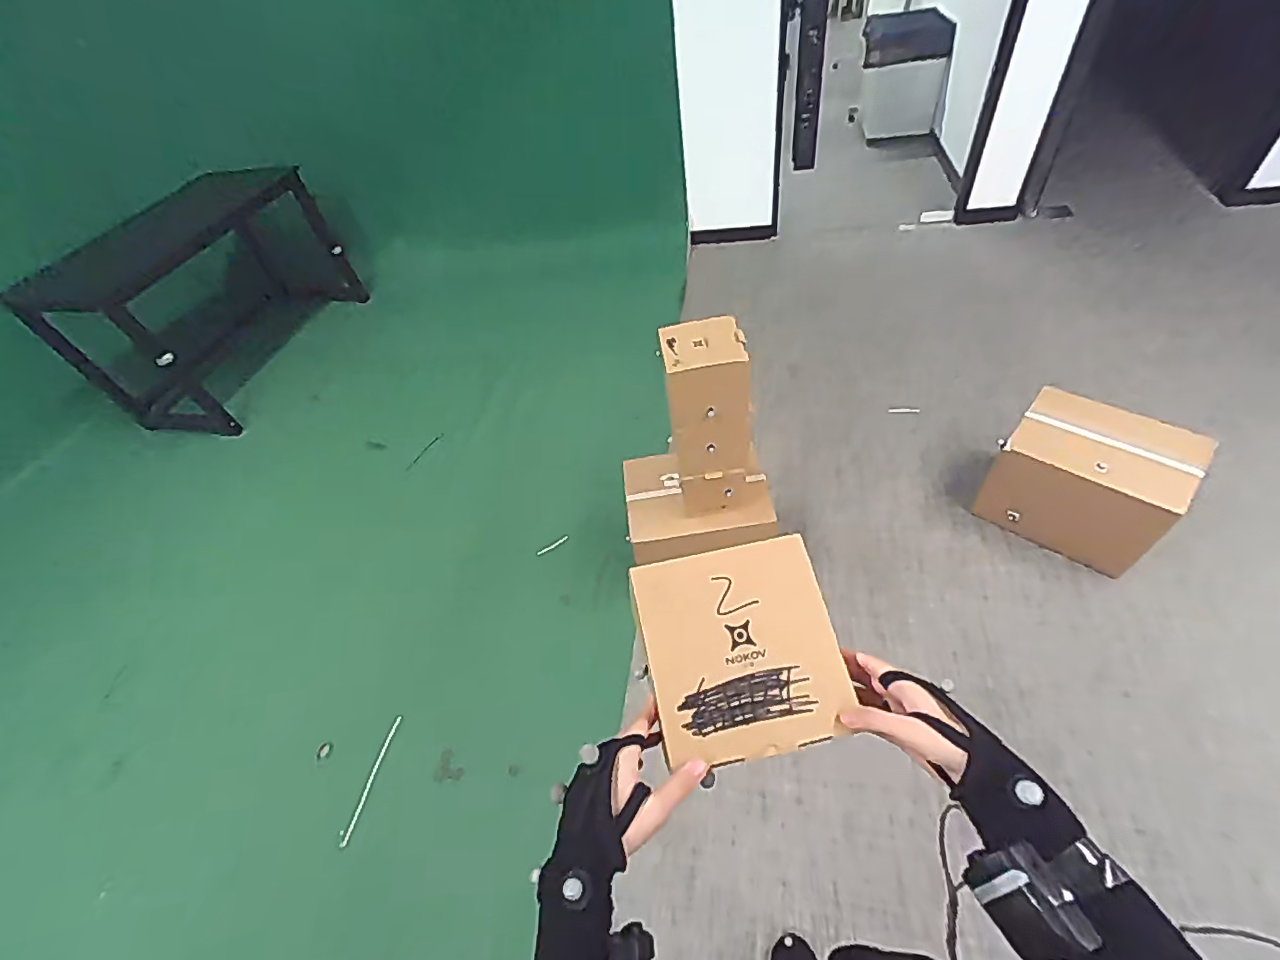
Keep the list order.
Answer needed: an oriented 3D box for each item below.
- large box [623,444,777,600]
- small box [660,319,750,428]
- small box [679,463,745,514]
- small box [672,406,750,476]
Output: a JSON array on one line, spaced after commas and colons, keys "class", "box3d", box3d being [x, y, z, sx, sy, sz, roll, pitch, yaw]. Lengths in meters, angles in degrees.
[{"class": "large box", "box3d": [0.183, 0.135, 1.662, 0.408, 0.320, 0.320, -10, 47, 4]}, {"class": "small box", "box3d": [0.144, -0.239, 1.229, 0.179, 0.176, 0.168, -8, 48, 2]}, {"class": "small box", "box3d": [0.190, -0.021, 1.470, 0.168, 0.176, 0.179, -8, 48, 3]}, {"class": "small box", "box3d": [0.170, -0.130, 1.350, 0.179, 0.176, 0.168, -10, 48, 3]}]
